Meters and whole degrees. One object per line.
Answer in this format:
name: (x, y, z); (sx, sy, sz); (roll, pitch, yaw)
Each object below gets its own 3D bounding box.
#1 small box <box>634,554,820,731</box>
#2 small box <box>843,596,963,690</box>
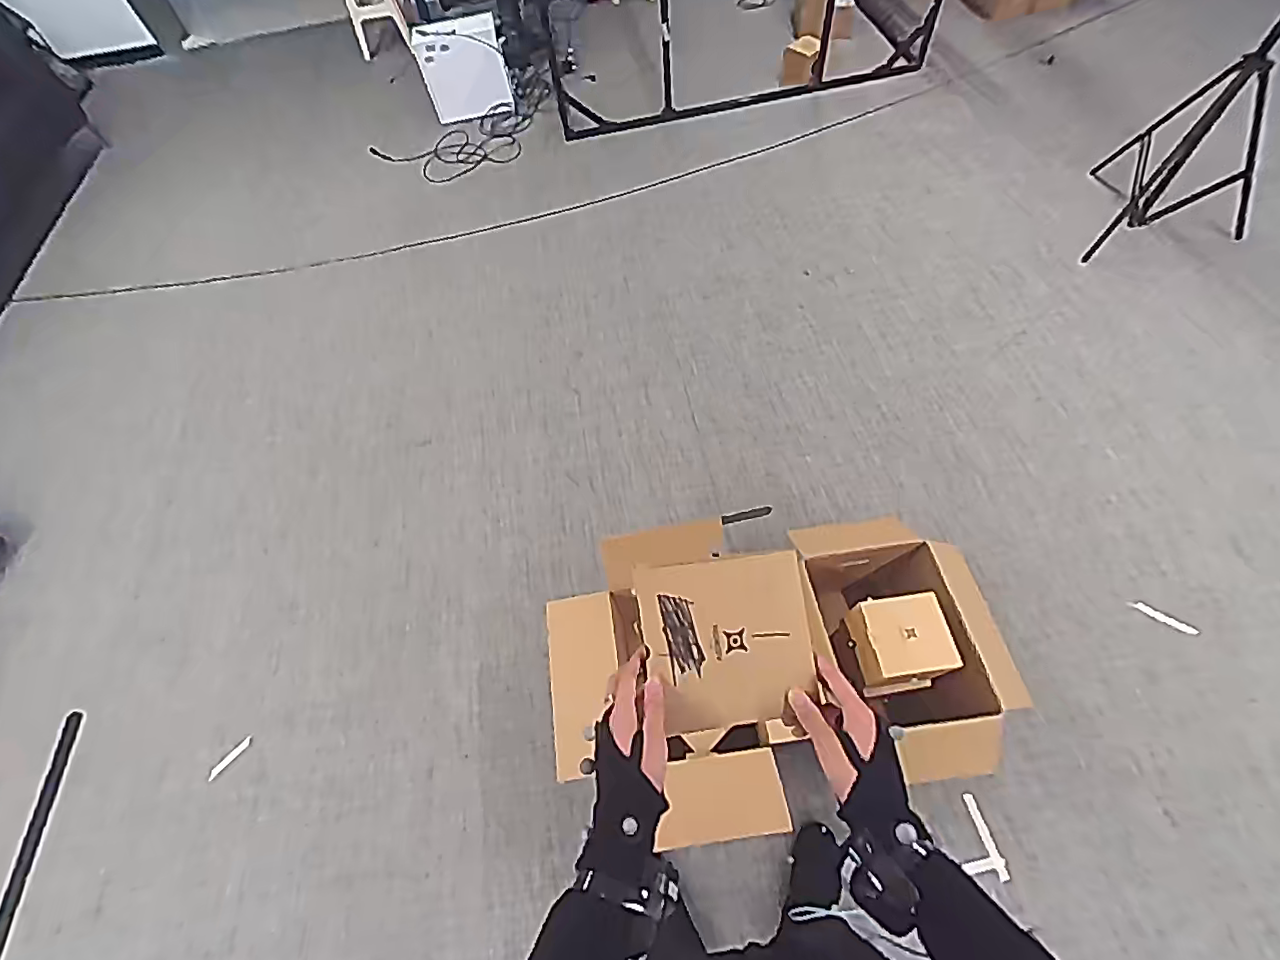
small box: (0.091, 0.179, 0.634); (0.179, 0.176, 0.168); (-7, 81, 1)
small box: (0.595, 0.380, 1.250); (0.179, 0.176, 0.168); (-9, 61, 1)
